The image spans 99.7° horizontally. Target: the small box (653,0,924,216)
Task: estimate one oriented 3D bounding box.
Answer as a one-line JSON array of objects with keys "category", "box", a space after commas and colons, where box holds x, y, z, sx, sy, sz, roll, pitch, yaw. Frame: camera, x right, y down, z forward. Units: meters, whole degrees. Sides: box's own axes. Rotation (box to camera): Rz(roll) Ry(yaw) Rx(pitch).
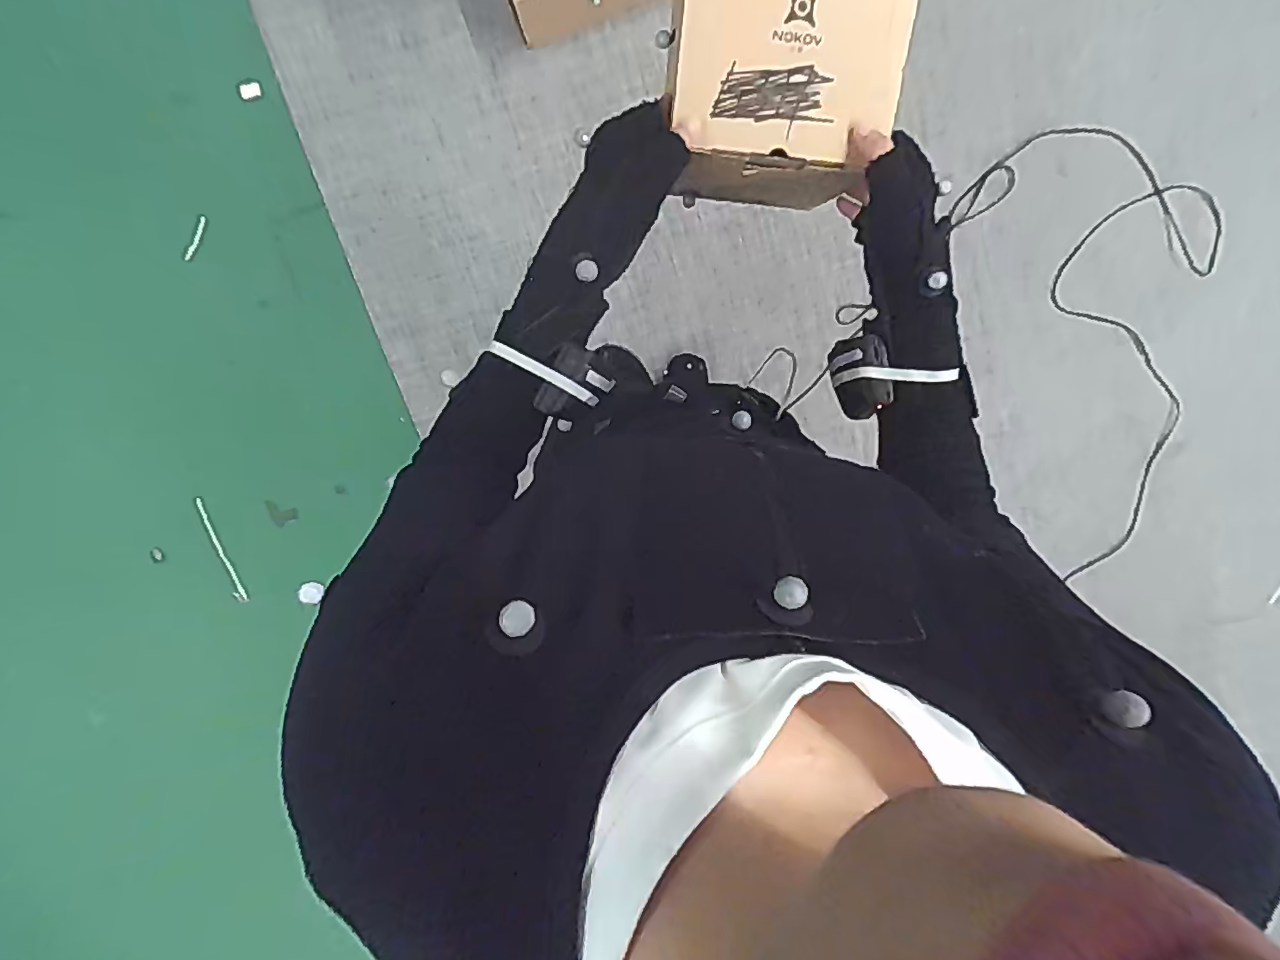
[{"category": "small box", "box": [0.107, -0.338, 0.455, 0.168, 0.176, 0.179, 7, 107, -7]}]
